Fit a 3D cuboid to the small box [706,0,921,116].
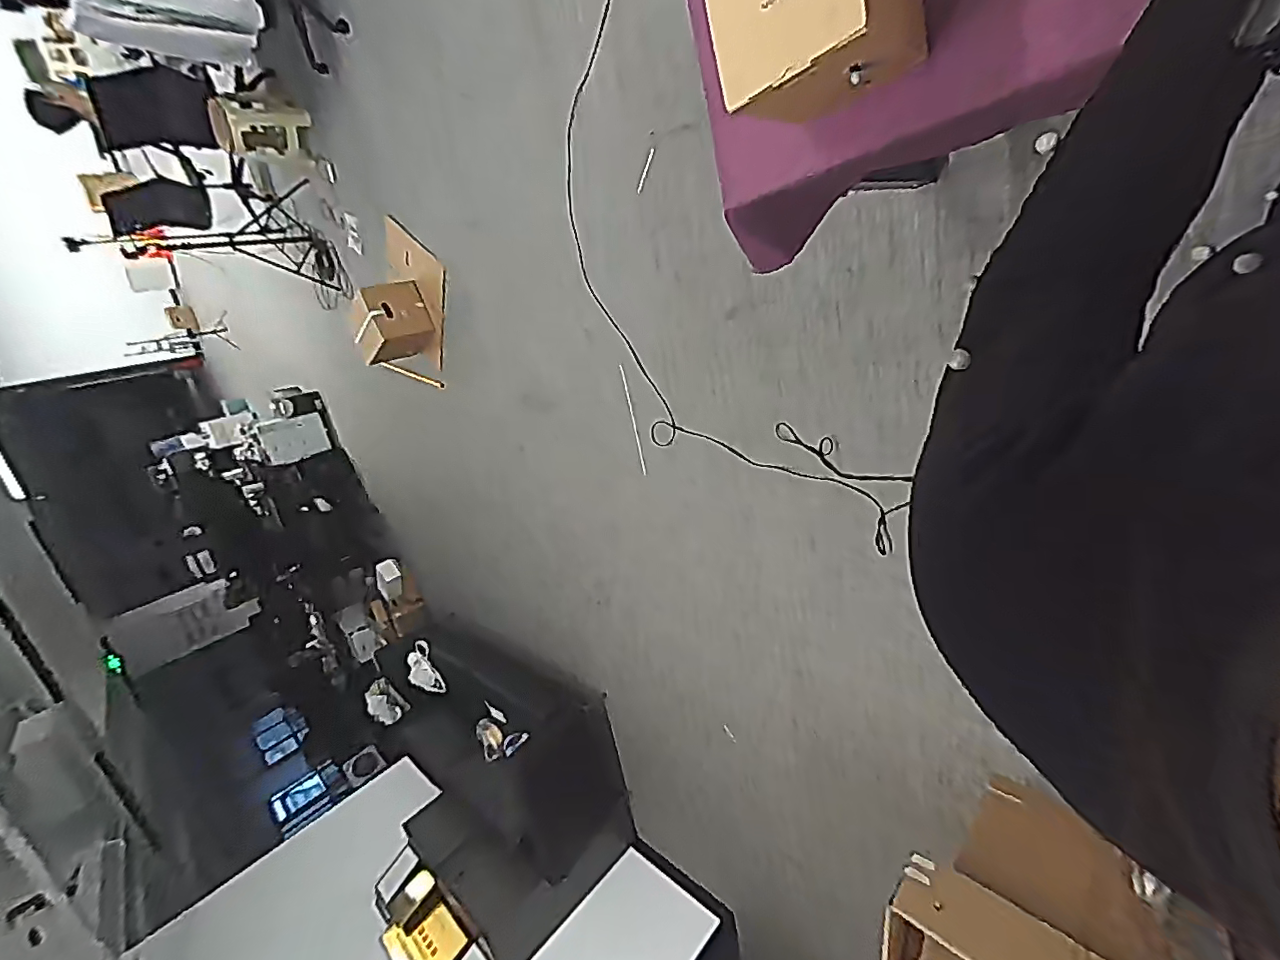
[{"bbox_3d":[0.192,-0.530,0.596,0.168,0.176,0.179,1,110,46],"label":"small box"}]
